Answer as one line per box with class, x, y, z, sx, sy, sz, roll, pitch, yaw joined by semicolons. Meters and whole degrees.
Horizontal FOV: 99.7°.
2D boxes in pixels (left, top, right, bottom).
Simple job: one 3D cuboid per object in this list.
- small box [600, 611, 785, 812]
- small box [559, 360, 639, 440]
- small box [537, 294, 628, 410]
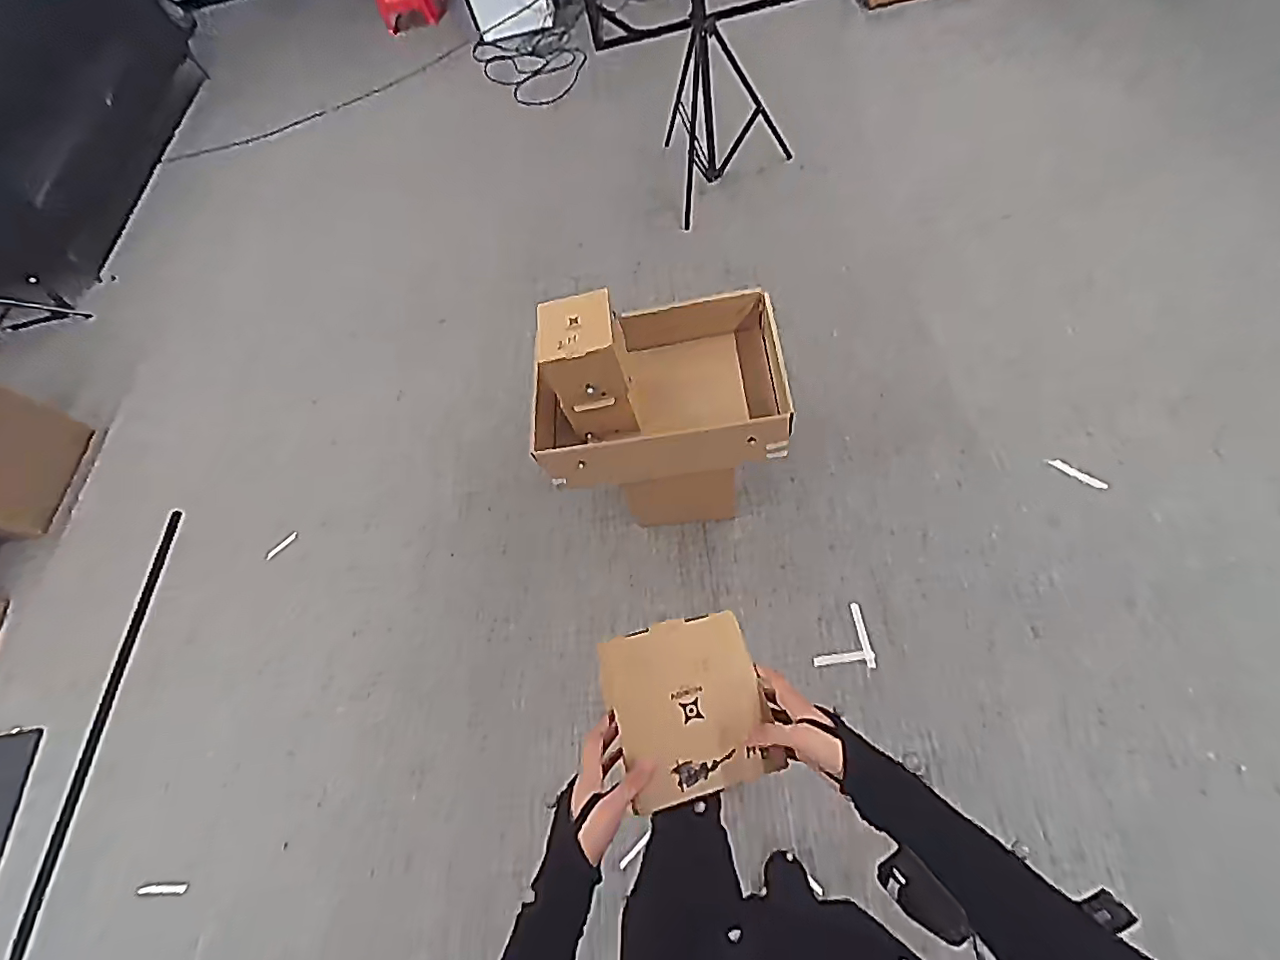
small box;0.047;0.282;0.652;0.168;0.176;0.179;-11;60;-10
small box;-0.101;-0.217;1.382;0.168;0.176;0.179;-9;61;8
small box;-0.128;-0.288;1.236;0.168;0.176;0.179;-11;61;8
